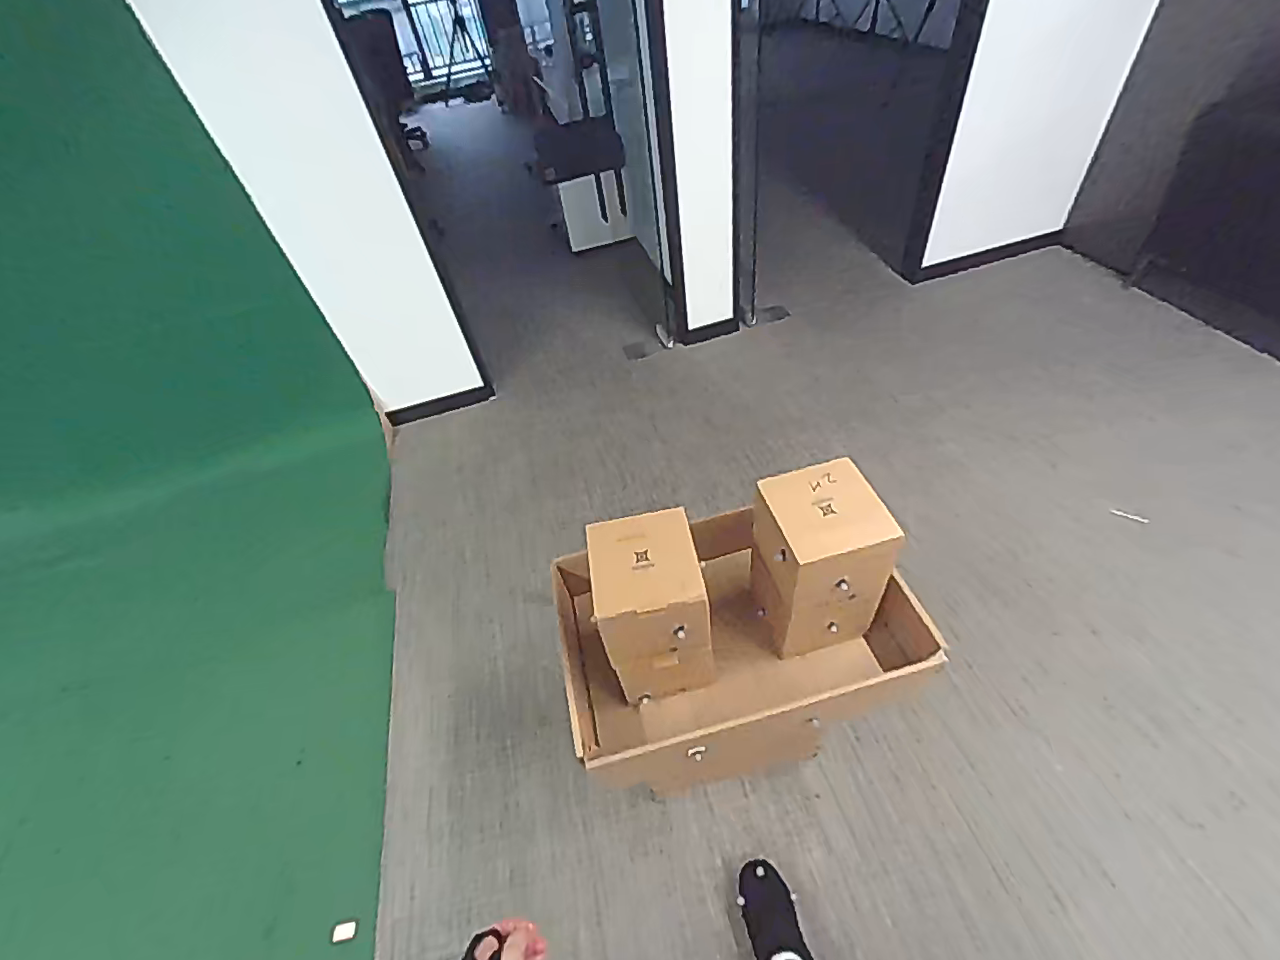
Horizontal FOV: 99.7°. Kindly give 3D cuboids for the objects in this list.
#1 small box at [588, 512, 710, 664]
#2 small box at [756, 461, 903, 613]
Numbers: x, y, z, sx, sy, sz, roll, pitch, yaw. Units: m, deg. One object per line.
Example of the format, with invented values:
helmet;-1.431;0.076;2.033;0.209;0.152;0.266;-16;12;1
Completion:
small box;0.015;0.182;0.879;0.168;0.176;0.179;-11;46;0
small box;0.300;0.101;0.896;0.168;0.176;0.179;-15;46;-3
